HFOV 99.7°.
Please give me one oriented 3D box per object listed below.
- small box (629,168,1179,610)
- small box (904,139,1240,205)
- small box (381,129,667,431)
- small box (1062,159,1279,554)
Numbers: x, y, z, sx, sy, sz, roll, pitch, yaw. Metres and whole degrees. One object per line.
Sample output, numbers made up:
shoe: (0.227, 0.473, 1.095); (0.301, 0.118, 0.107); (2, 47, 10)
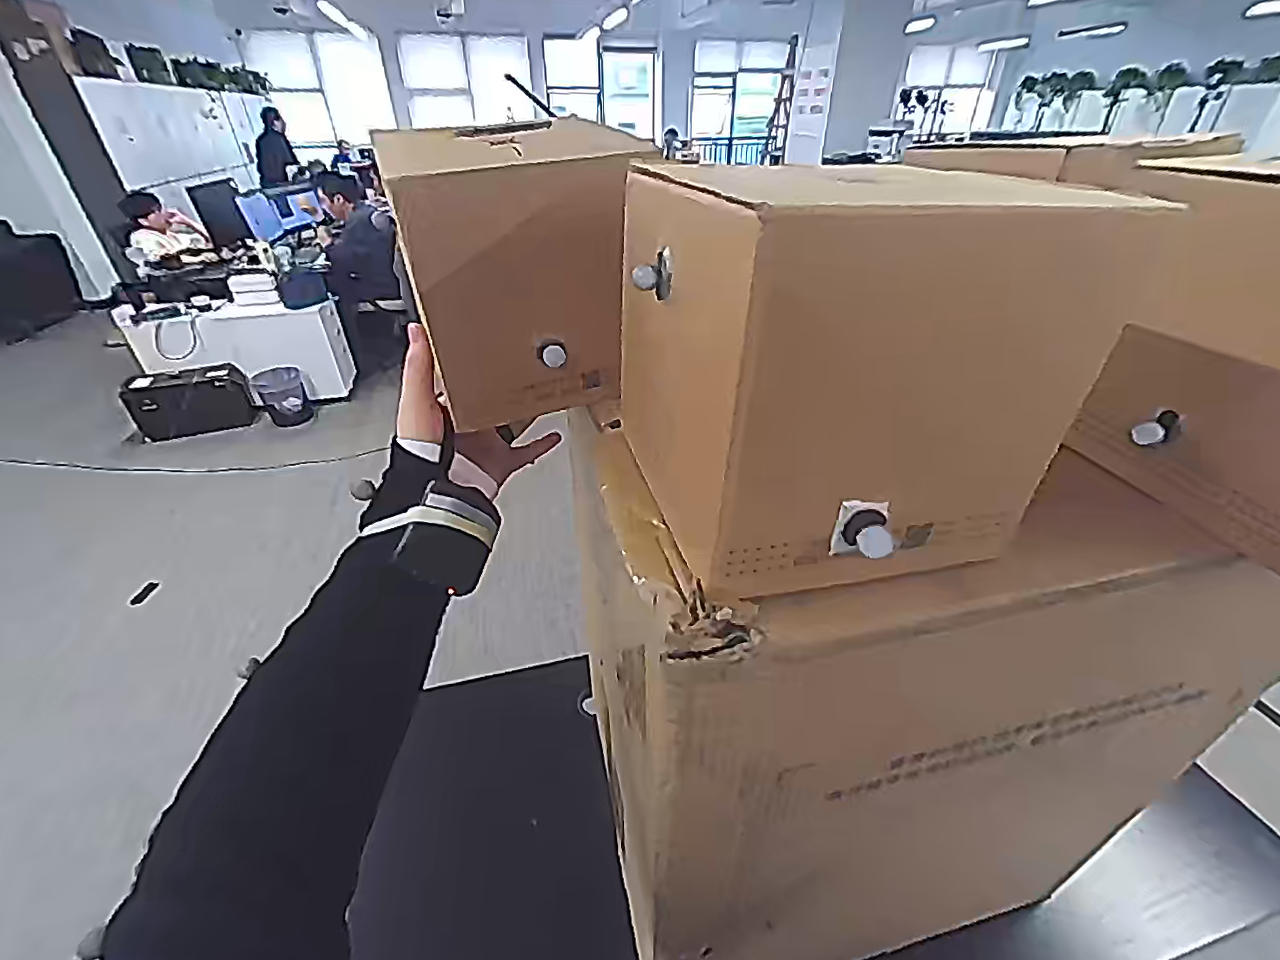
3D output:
small box: (0.091, -0.060, 0.286); (0.168, 0.176, 0.179); (-7, 36, -12)
small box: (0.350, -0.209, 0.497); (0.168, 0.176, 0.179); (-10, 32, -11)
small box: (-0.089, -0.162, 0.422); (0.168, 0.176, 0.179); (-16, 42, -17)
small box: (0.377, -0.072, 0.303); (0.168, 0.176, 0.179); (-9, 37, -11)
